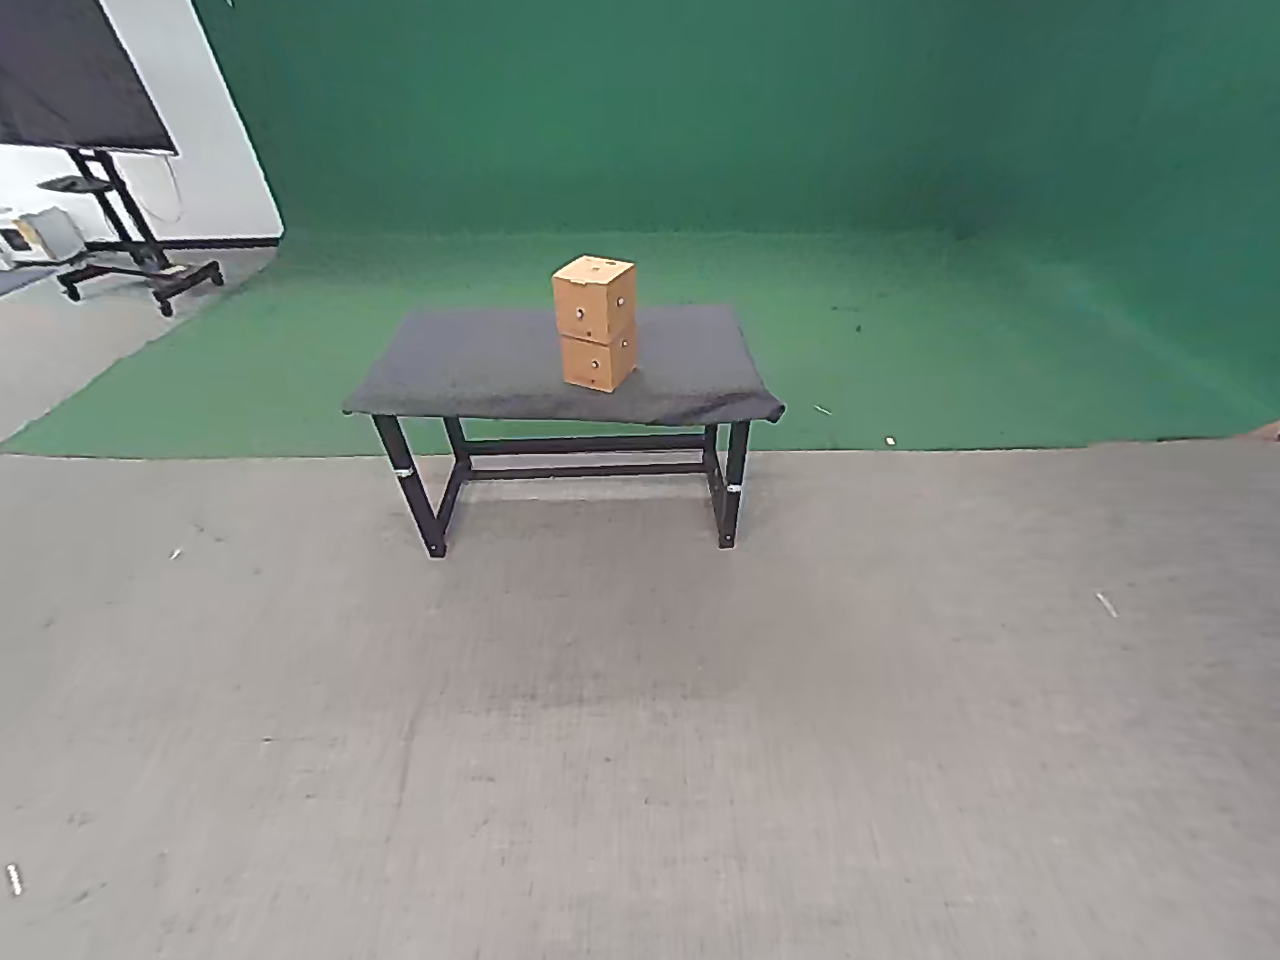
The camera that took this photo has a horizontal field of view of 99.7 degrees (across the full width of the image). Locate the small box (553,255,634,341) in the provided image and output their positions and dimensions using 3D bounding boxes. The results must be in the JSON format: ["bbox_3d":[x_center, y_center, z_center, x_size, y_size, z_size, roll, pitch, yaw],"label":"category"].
[{"bbox_3d":[-0.122,-0.510,1.521,0.168,0.176,0.179,18,45,19],"label":"small box"}]

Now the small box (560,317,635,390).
[{"bbox_3d":[-0.122,-0.395,1.638,0.168,0.176,0.179,17,43,18],"label":"small box"}]
